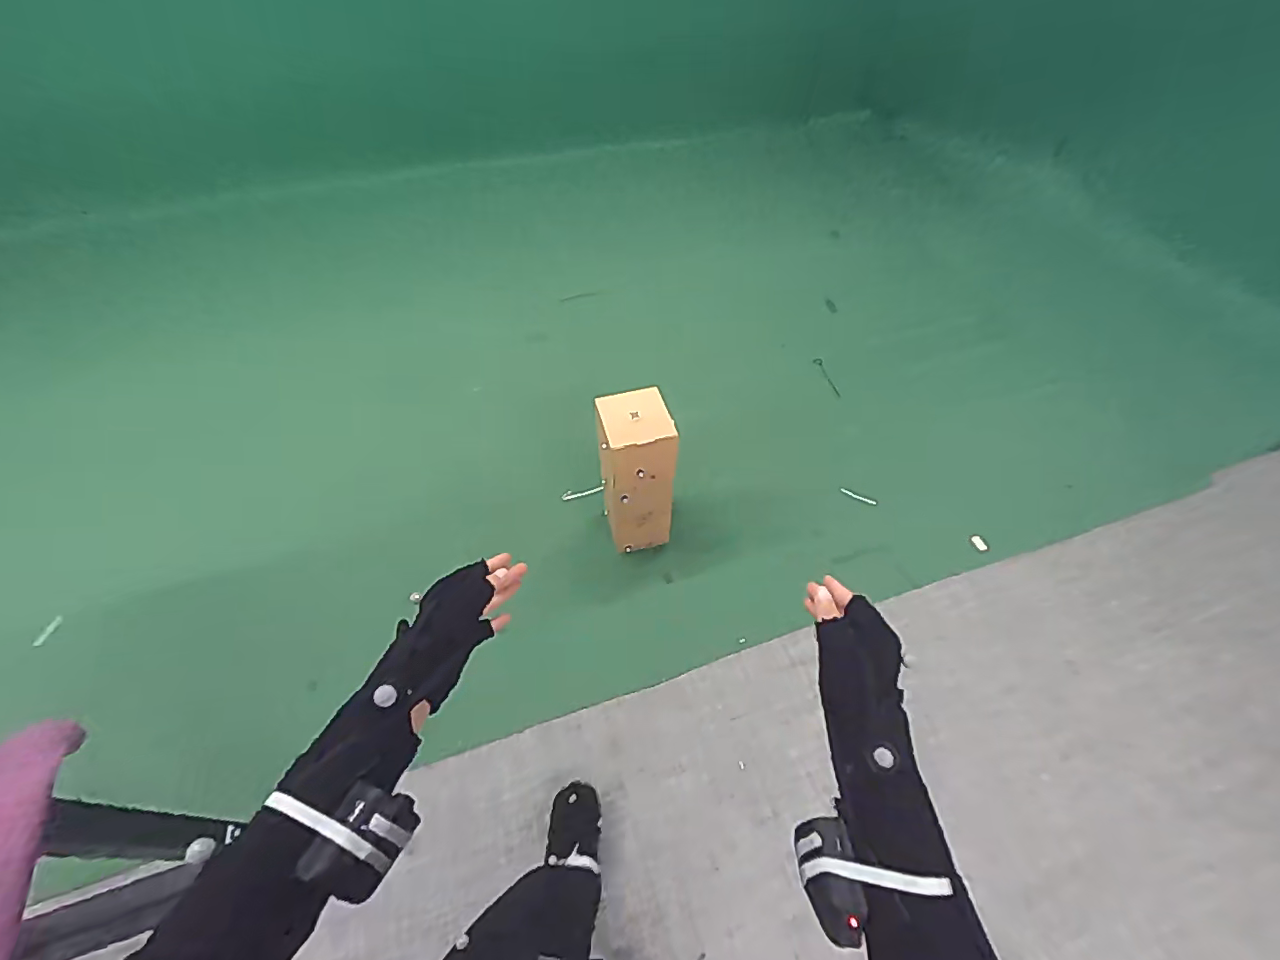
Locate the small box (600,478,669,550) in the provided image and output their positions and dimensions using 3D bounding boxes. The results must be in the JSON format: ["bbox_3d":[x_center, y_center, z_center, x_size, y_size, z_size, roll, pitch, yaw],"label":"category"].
[{"bbox_3d":[-0.018,0.095,1.634,0.168,0.176,0.179,-14,56,-11],"label":"small box"}]

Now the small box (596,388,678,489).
[{"bbox_3d":[-0.014,-0.104,1.374,0.168,0.176,0.179,-13,54,-11],"label":"small box"}]
